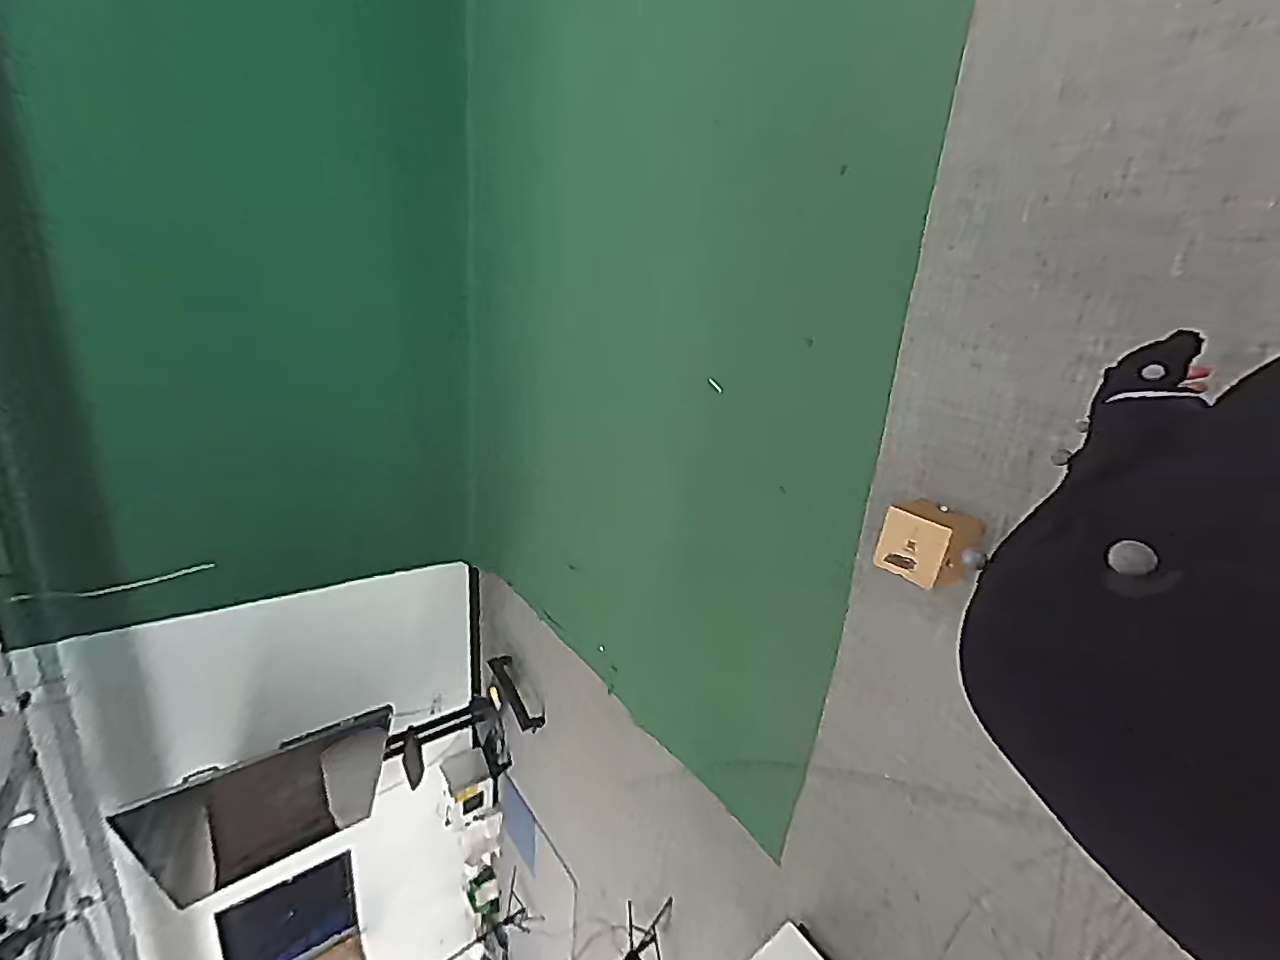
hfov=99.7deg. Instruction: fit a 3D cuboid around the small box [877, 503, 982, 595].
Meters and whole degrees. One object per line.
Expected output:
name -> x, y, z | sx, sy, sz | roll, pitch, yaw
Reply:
small box -> 0.762, 0.173, 1.420 | 0.168, 0.176, 0.179 | 29, 117, 47
